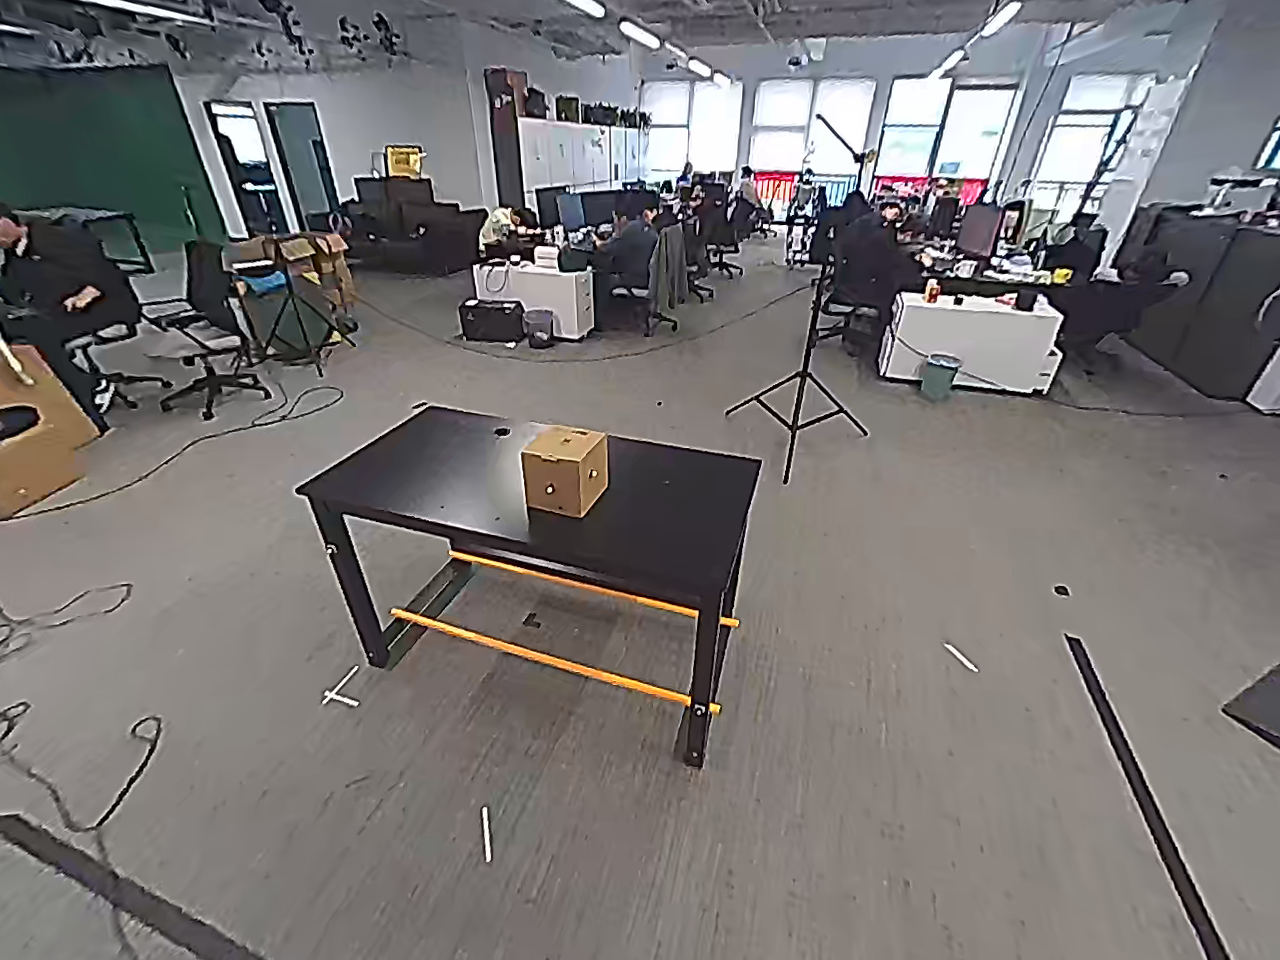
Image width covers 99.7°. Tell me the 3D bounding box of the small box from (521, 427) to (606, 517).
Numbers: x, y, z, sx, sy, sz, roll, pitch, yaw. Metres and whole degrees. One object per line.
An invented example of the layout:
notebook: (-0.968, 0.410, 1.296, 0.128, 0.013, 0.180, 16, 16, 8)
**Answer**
small box: (-0.194, -0.021, 1.447, 0.168, 0.176, 0.179, 11, 33, 17)
